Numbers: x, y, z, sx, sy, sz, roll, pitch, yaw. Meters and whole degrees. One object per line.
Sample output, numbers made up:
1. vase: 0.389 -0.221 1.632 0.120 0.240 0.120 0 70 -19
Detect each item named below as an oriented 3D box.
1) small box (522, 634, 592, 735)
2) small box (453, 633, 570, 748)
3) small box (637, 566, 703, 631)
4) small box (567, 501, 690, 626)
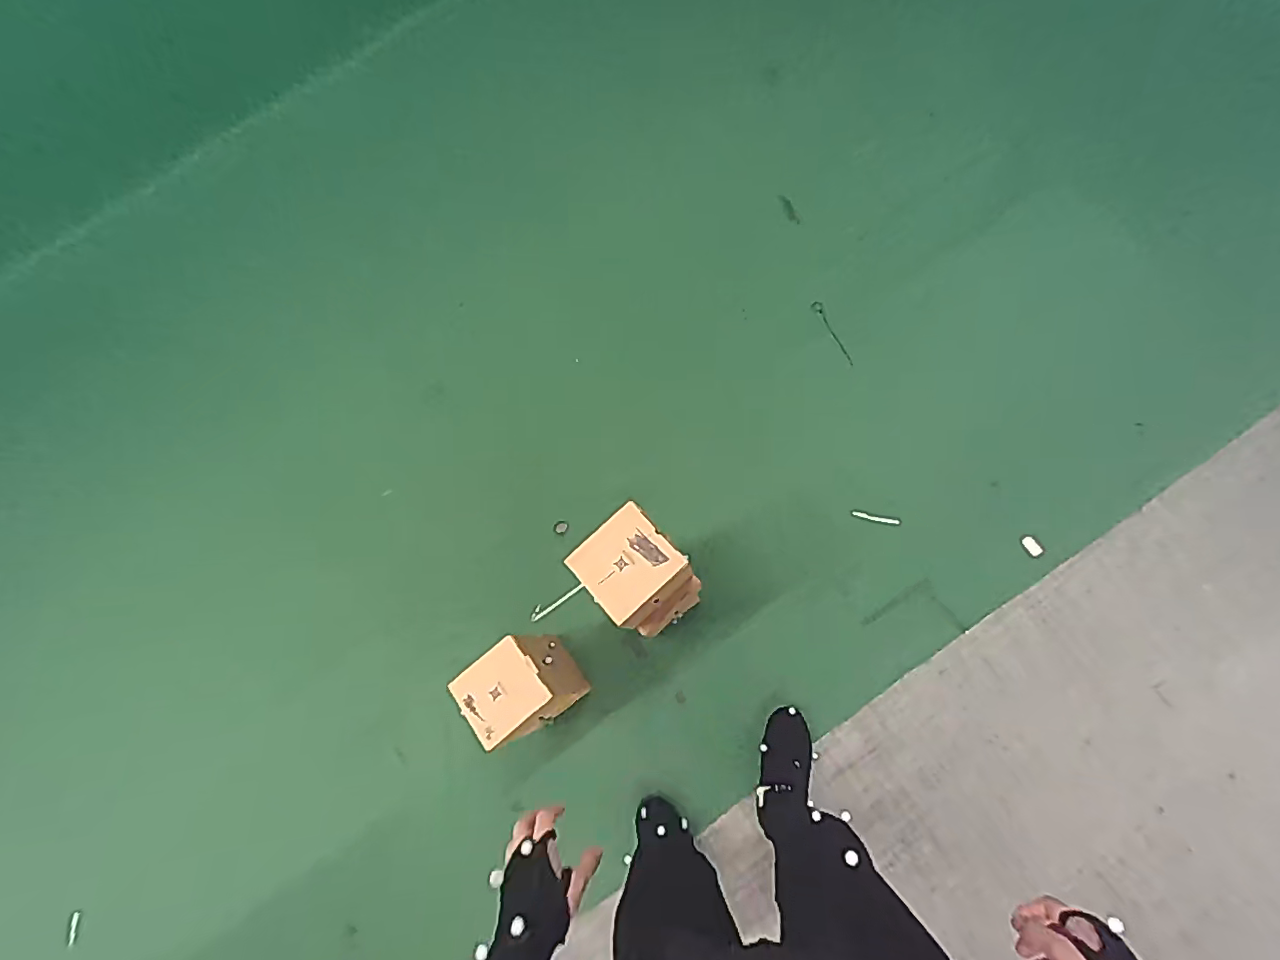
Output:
1. small box: -0.245 0.507 1.370 0.168 0.176 0.179 -37 71 -2
2. small box: -0.276 0.462 1.215 0.179 0.176 0.168 -39 71 -3
3. small box: 0.025 0.229 1.231 0.168 0.176 0.179 -44 72 -4
4. small box: -0.014 0.171 1.080 0.179 0.176 0.168 -42 72 -4
